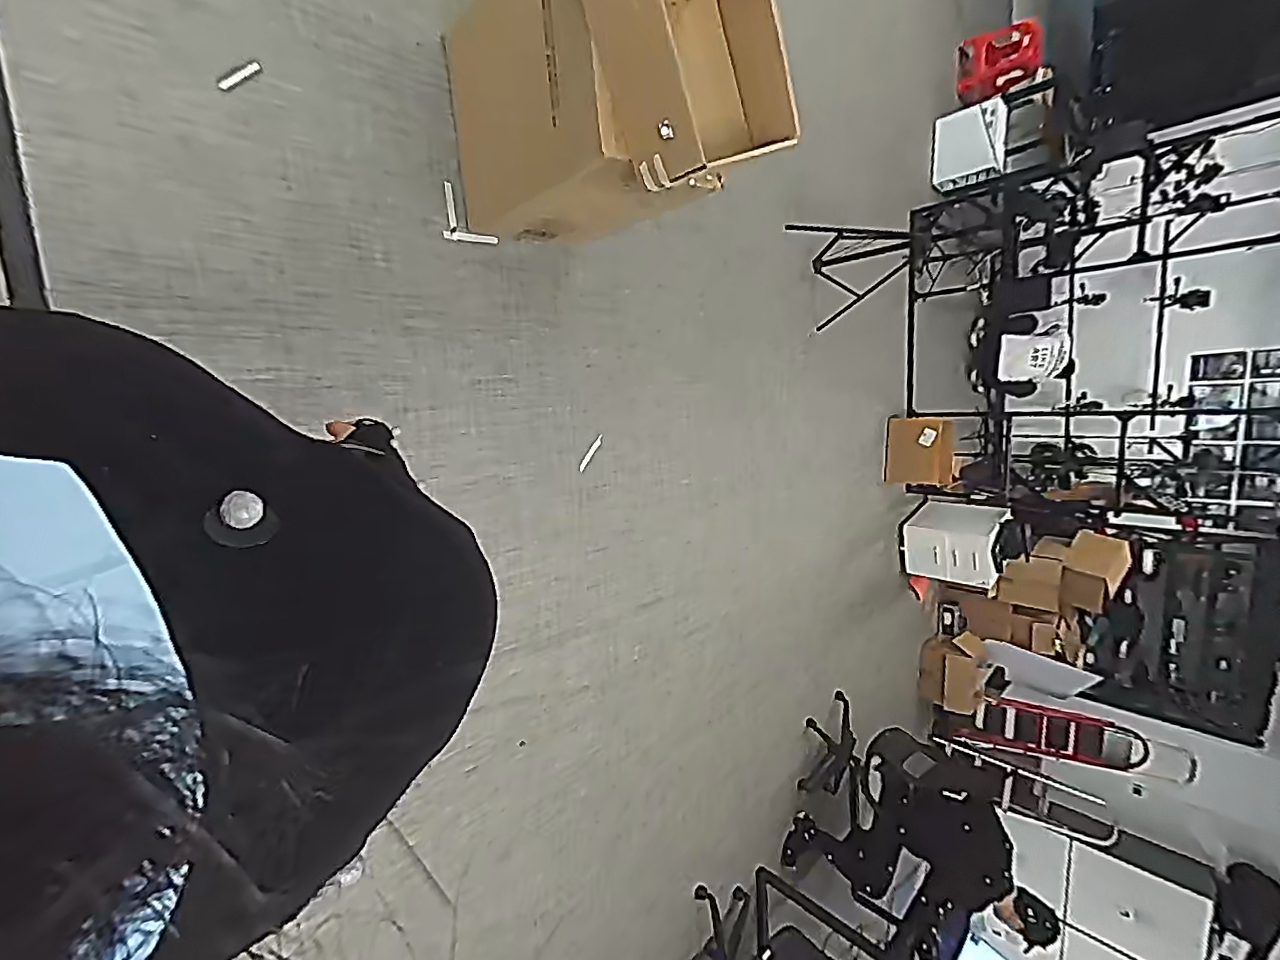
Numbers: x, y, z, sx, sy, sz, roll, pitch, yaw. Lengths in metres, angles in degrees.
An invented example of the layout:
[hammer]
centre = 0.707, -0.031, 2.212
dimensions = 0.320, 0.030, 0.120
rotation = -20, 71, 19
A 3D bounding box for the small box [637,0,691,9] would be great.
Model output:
[small box]
centre = 0.065, -1.077, 1.069
dimensions = 0.168, 0.176, 0.179
rotation = -36, 118, -35
